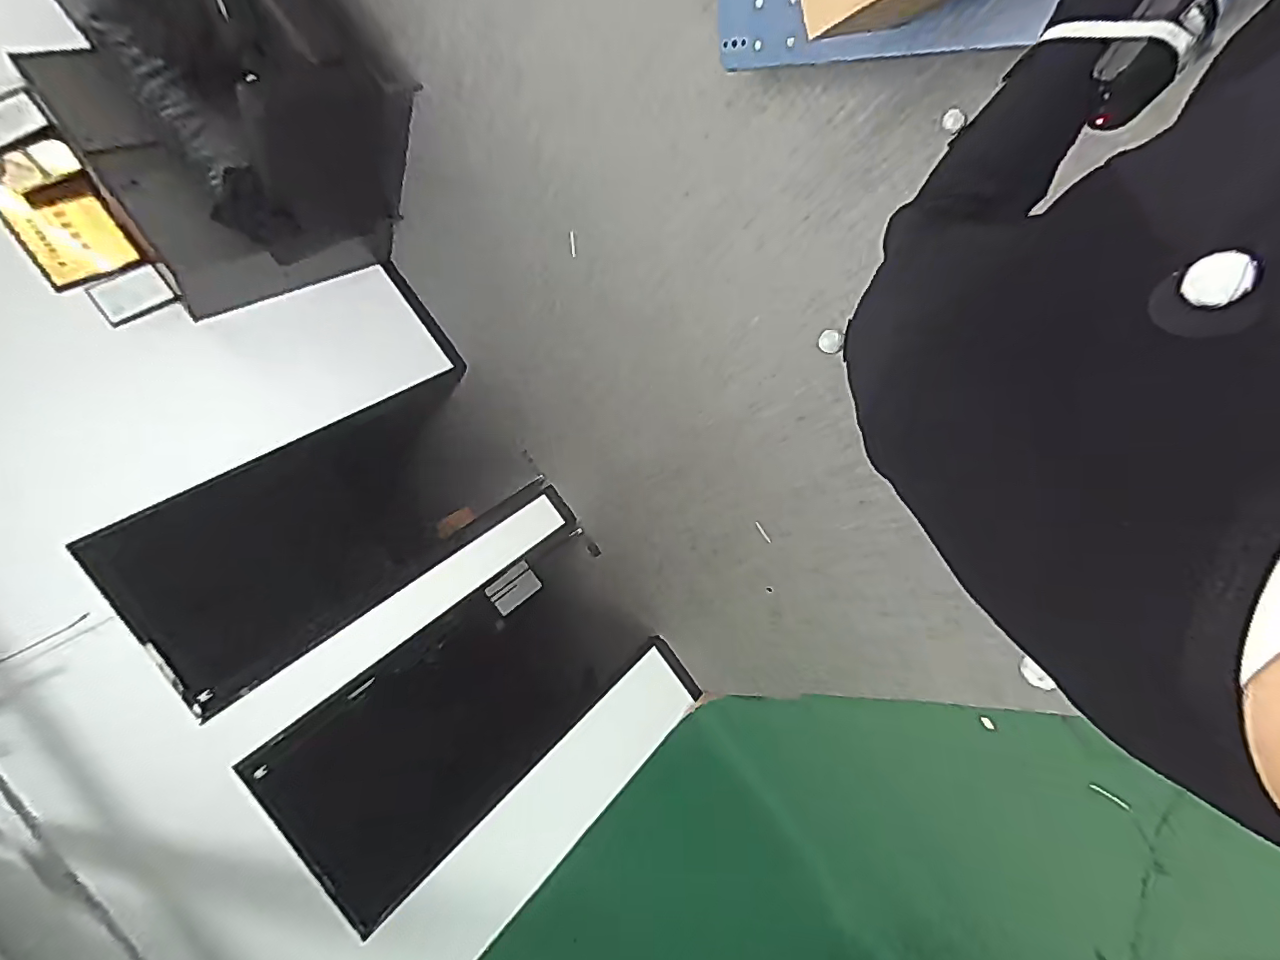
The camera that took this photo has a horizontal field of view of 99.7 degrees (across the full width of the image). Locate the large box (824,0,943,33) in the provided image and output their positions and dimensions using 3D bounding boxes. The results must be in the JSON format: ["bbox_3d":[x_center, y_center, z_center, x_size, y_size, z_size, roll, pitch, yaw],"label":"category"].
[{"bbox_3d":[0.419,-0.936,0.739,0.320,0.320,0.408,4,125,50],"label":"large box"}]
